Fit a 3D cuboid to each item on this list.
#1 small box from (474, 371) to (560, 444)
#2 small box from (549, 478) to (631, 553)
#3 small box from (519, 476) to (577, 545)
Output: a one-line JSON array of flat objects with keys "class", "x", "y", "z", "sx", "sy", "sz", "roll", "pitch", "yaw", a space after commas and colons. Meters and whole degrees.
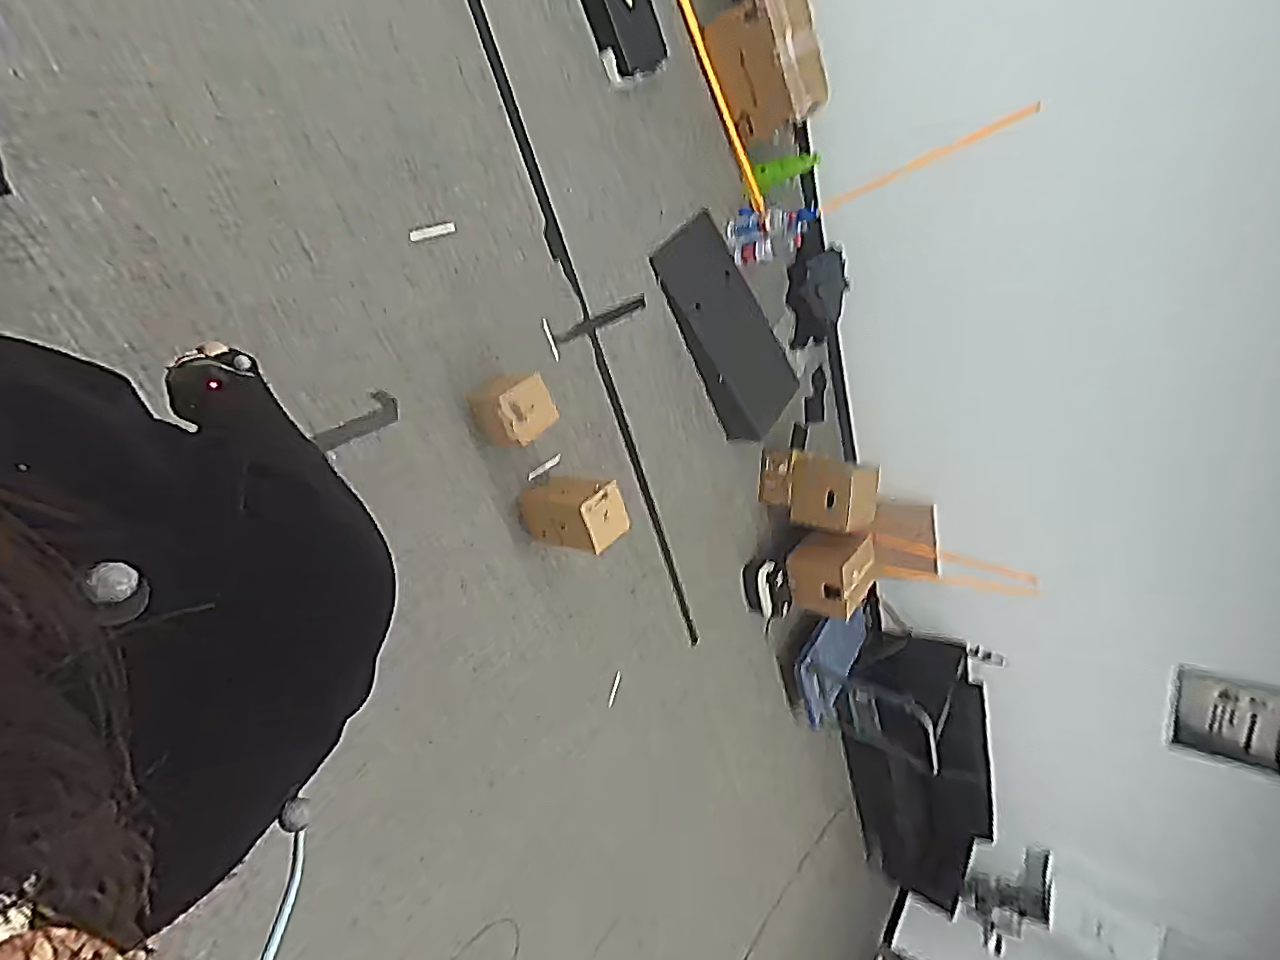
[{"class": "small box", "x": -0.393, "y": -0.225, "z": 1.694, "sx": 0.179, "sy": 0.176, "sz": 0.168, "roll": -45, "pitch": 125, "yaw": -35}, {"class": "small box", "x": -0.161, "y": 0.107, "z": 1.742, "sx": 0.168, "sy": 0.176, "sz": 0.179, "roll": -38, "pitch": 121, "yaw": -39}, {"class": "small box", "x": -0.283, "y": 0.098, "z": 1.851, "sx": 0.168, "sy": 0.176, "sz": 0.179, "roll": -36, "pitch": 119, "yaw": -40}]
